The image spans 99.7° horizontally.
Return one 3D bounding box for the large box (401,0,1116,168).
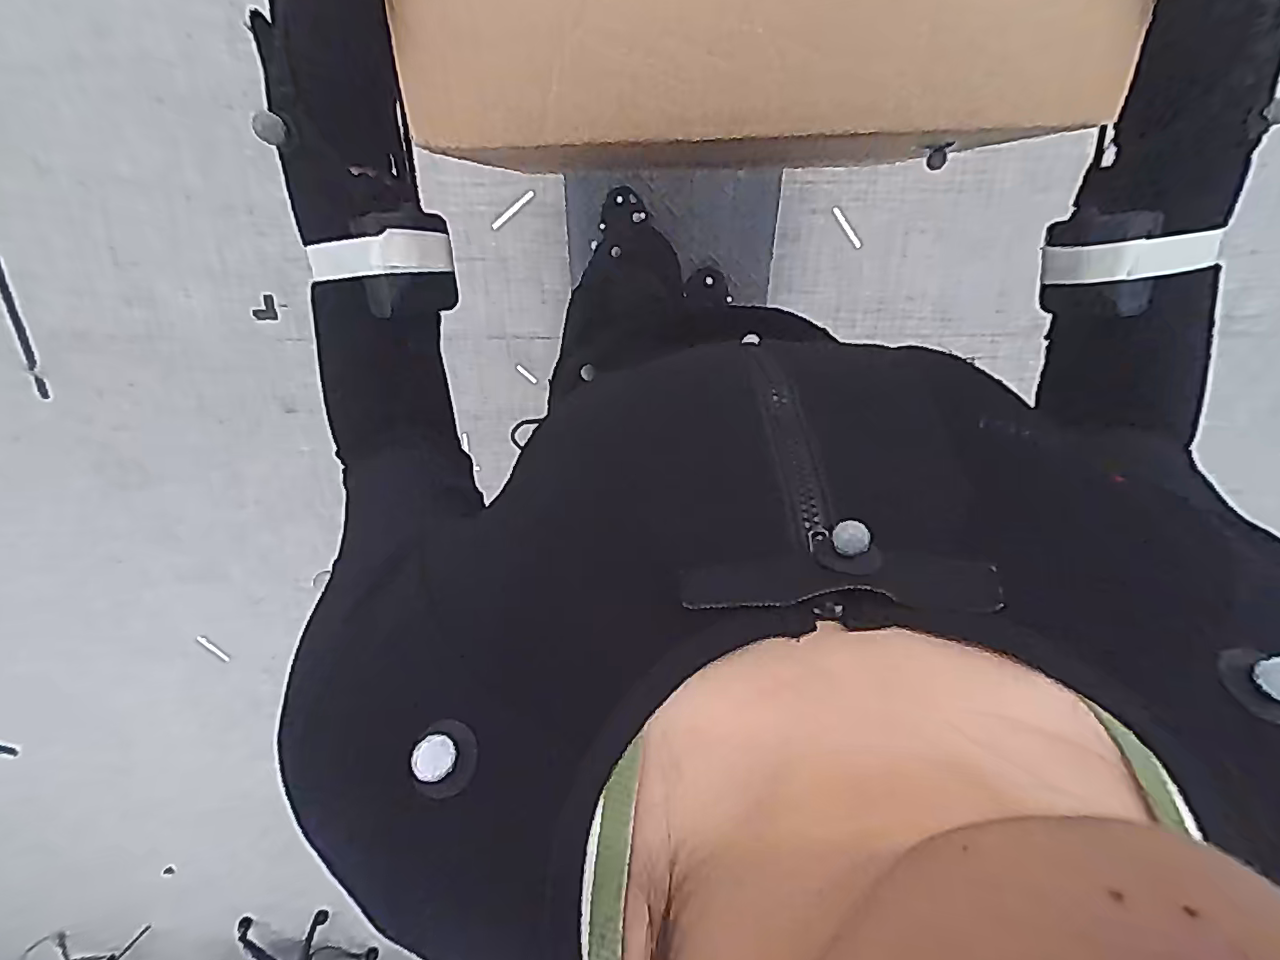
[{"bbox_3d":[0.064,-0.414,0.388,0.408,0.320,0.320,-1,117,1],"label":"large box"}]
